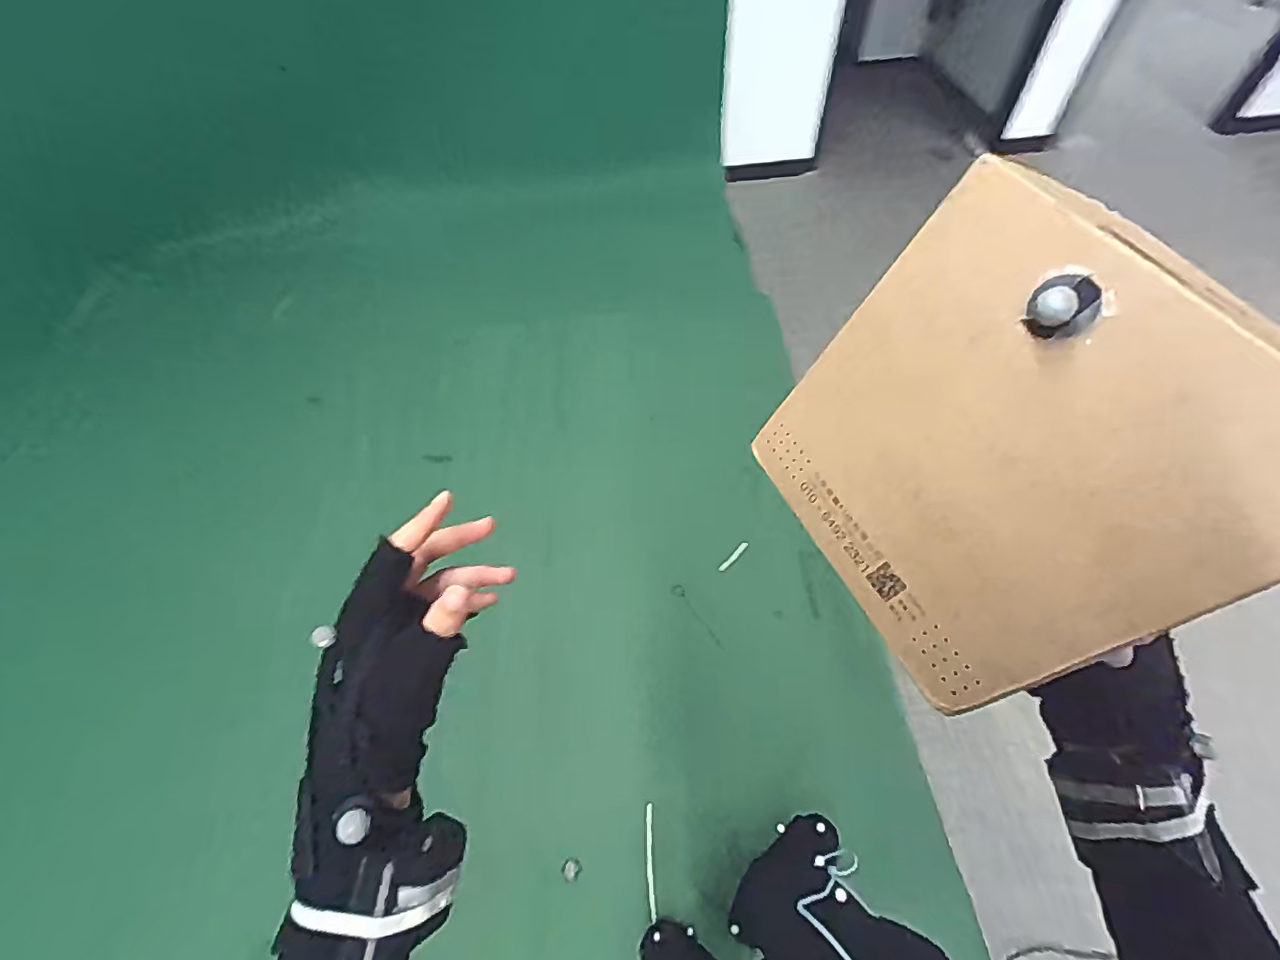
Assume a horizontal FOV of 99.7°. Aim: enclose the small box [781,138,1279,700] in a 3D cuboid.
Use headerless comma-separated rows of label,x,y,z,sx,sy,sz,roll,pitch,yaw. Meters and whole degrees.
small box,0.207,-0.020,0.265,0.179,0.176,0.168,-6,55,-35
